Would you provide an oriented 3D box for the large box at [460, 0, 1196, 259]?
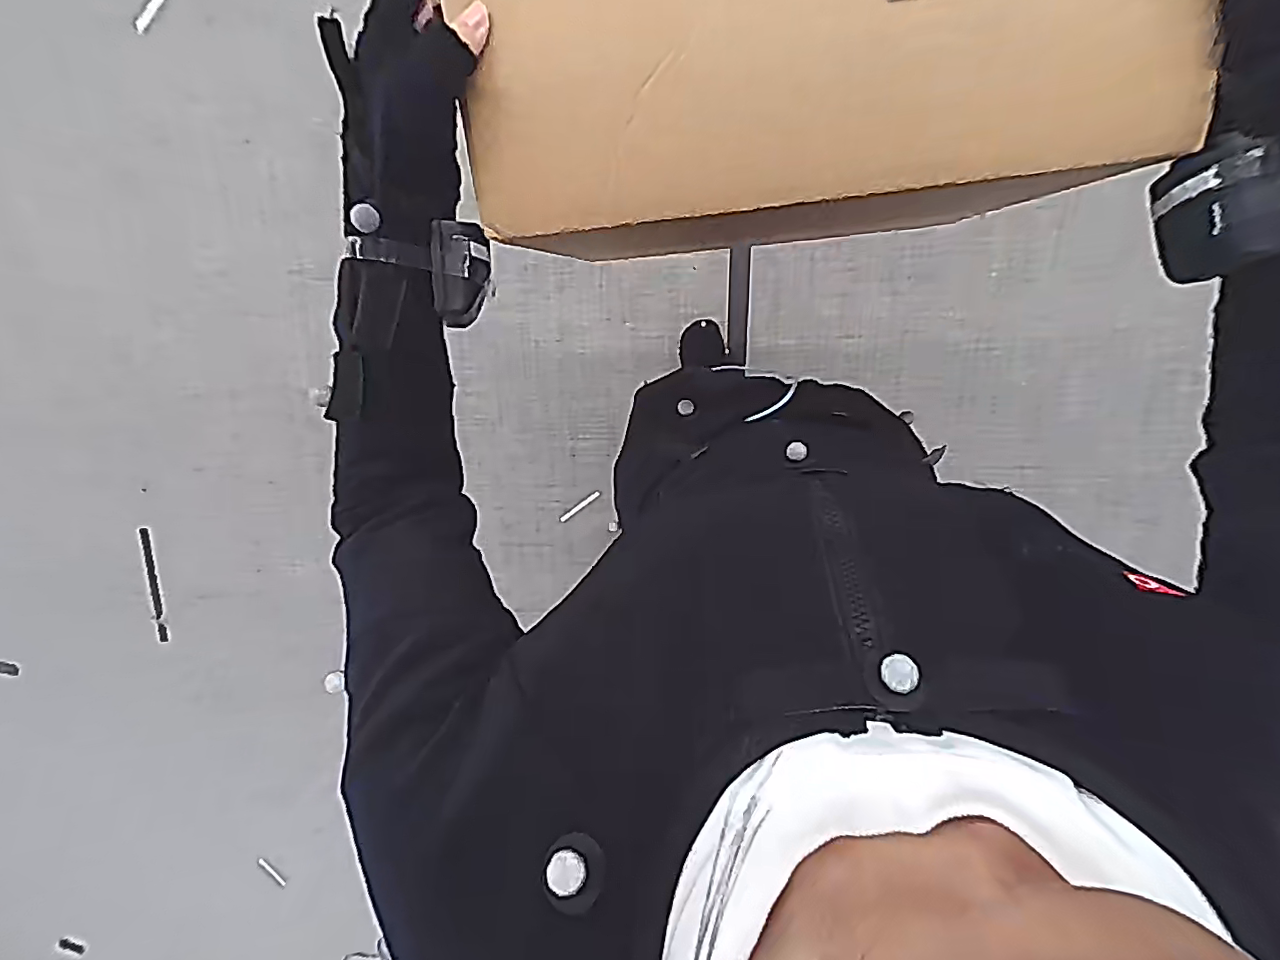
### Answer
[{"bbox_3d":[0.100,-0.371,0.422,0.408,0.320,0.320,-4,109,8],"label":"large box"}]
